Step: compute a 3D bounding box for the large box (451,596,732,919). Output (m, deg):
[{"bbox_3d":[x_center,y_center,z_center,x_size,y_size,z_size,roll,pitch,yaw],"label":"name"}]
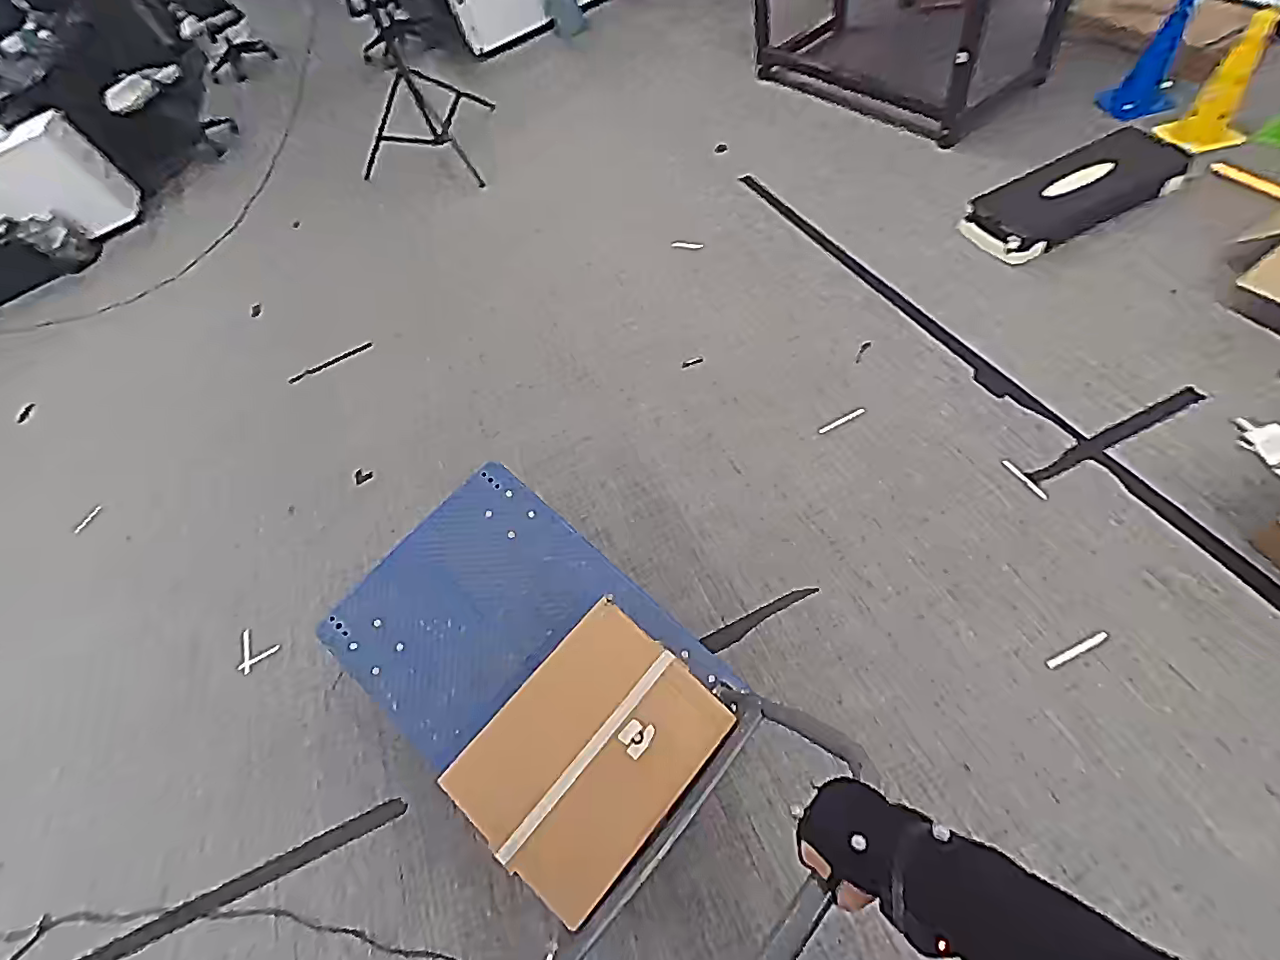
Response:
[{"bbox_3d":[-0.081,0.502,1.059,0.320,0.320,0.408,40,73,12],"label":"large box"}]
